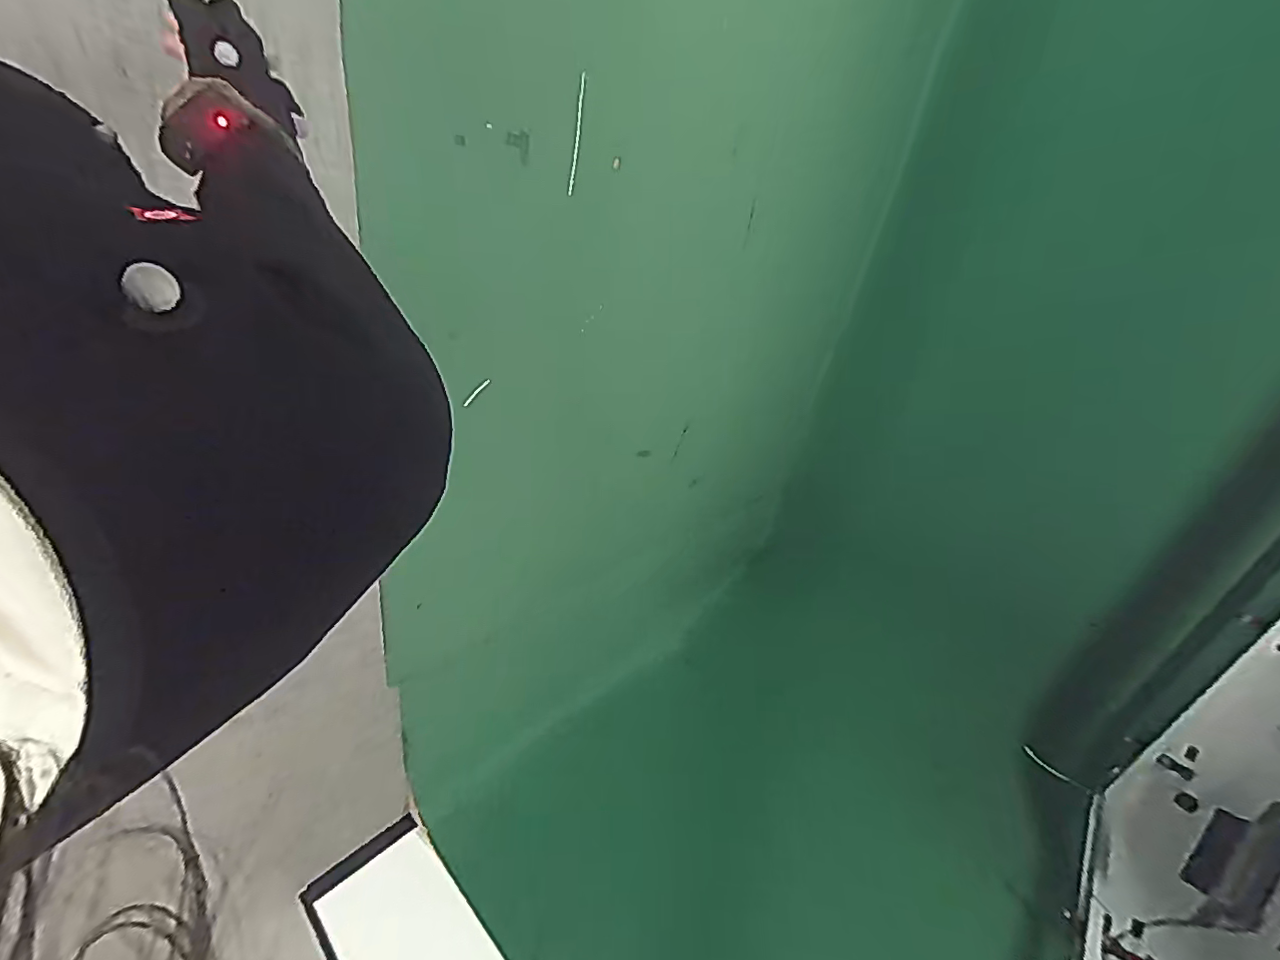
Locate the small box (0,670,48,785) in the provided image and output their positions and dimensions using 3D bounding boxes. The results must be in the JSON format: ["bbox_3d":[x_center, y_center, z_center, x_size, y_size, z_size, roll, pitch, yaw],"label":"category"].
[{"bbox_3d":[-1.403,0.540,1.131,0.179,0.176,0.168,-23,135,-44],"label":"small box"}]
